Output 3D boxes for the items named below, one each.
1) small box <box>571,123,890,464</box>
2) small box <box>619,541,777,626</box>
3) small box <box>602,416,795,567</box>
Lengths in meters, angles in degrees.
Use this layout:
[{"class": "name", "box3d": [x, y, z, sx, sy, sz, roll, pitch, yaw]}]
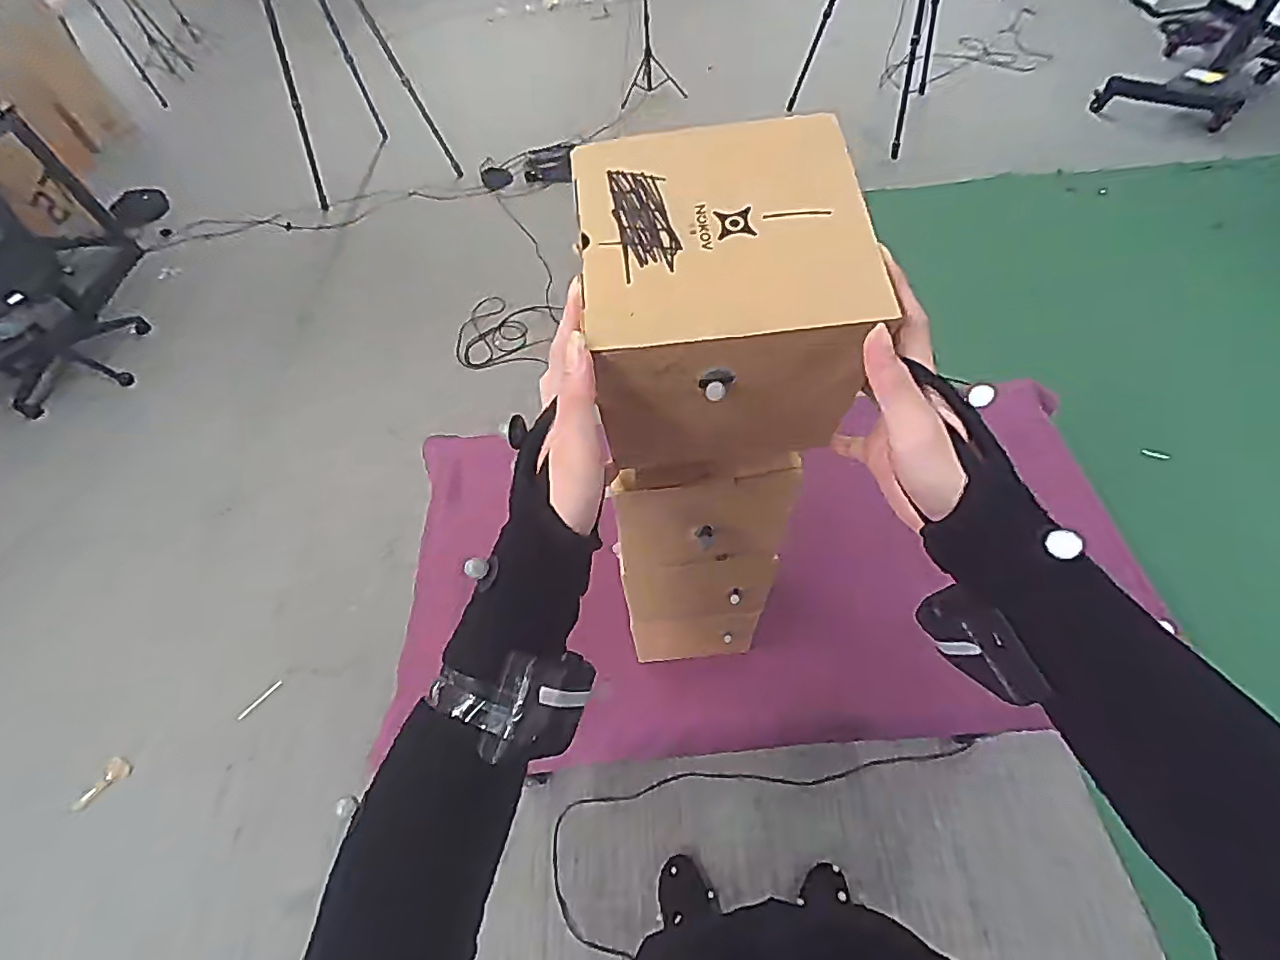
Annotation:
[{"class": "small box", "box3d": [0.052, -0.121, 0.402, 0.179, 0.176, 0.168, -6, 68, 2]}, {"class": "small box", "box3d": [0.065, 0.078, 0.701, 0.179, 0.176, 0.168, -6, 55, 2]}, {"class": "small box", "box3d": [0.052, -0.019, 0.571, 0.168, 0.176, 0.179, -6, 55, 0]}]
